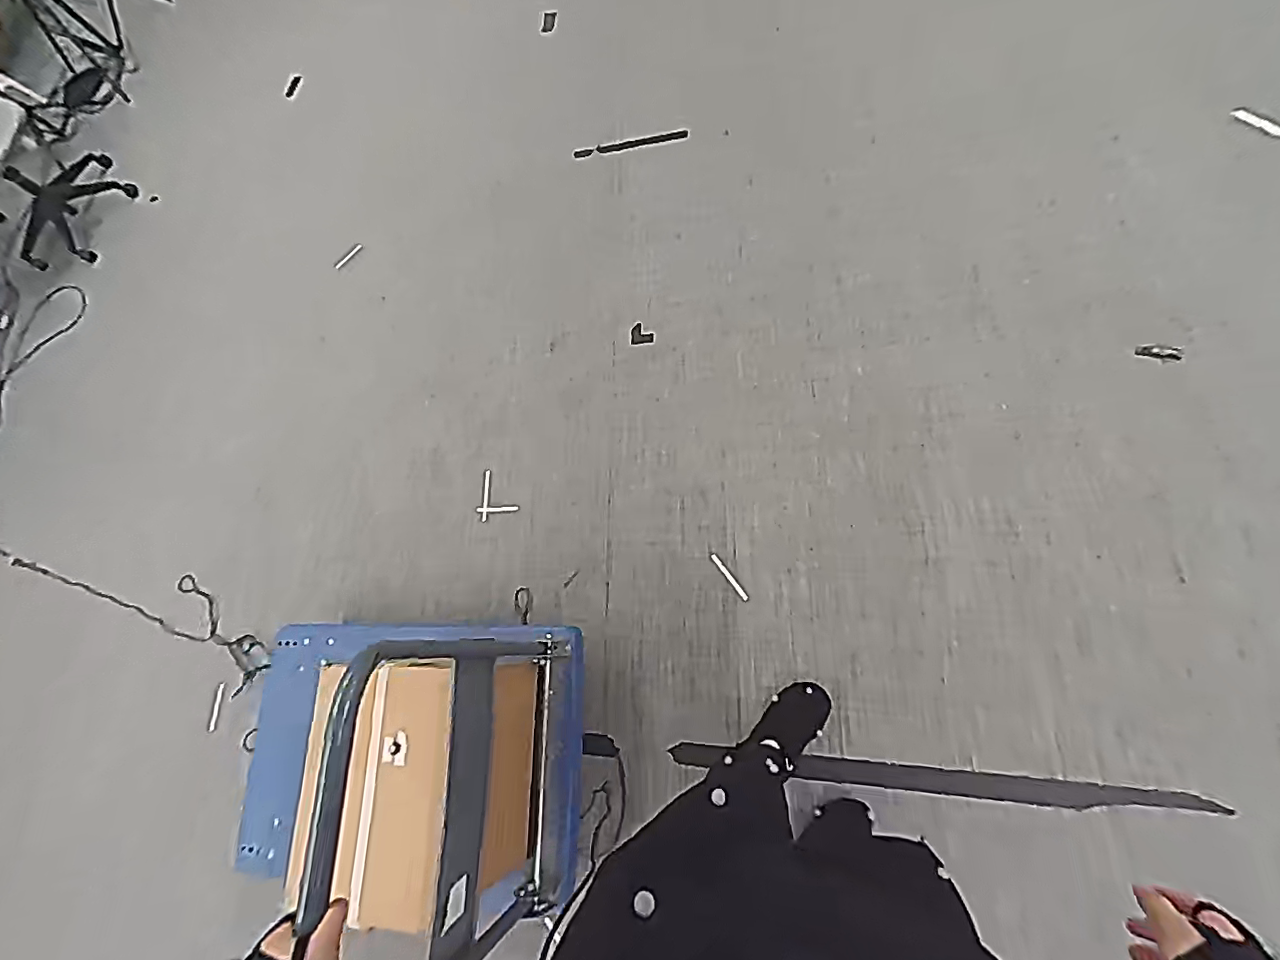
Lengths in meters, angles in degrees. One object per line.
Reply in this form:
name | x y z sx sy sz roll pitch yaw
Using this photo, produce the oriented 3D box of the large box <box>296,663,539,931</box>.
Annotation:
large box | -0.417 0.591 1.096 0.320 0.320 0.408 -5 72 15
